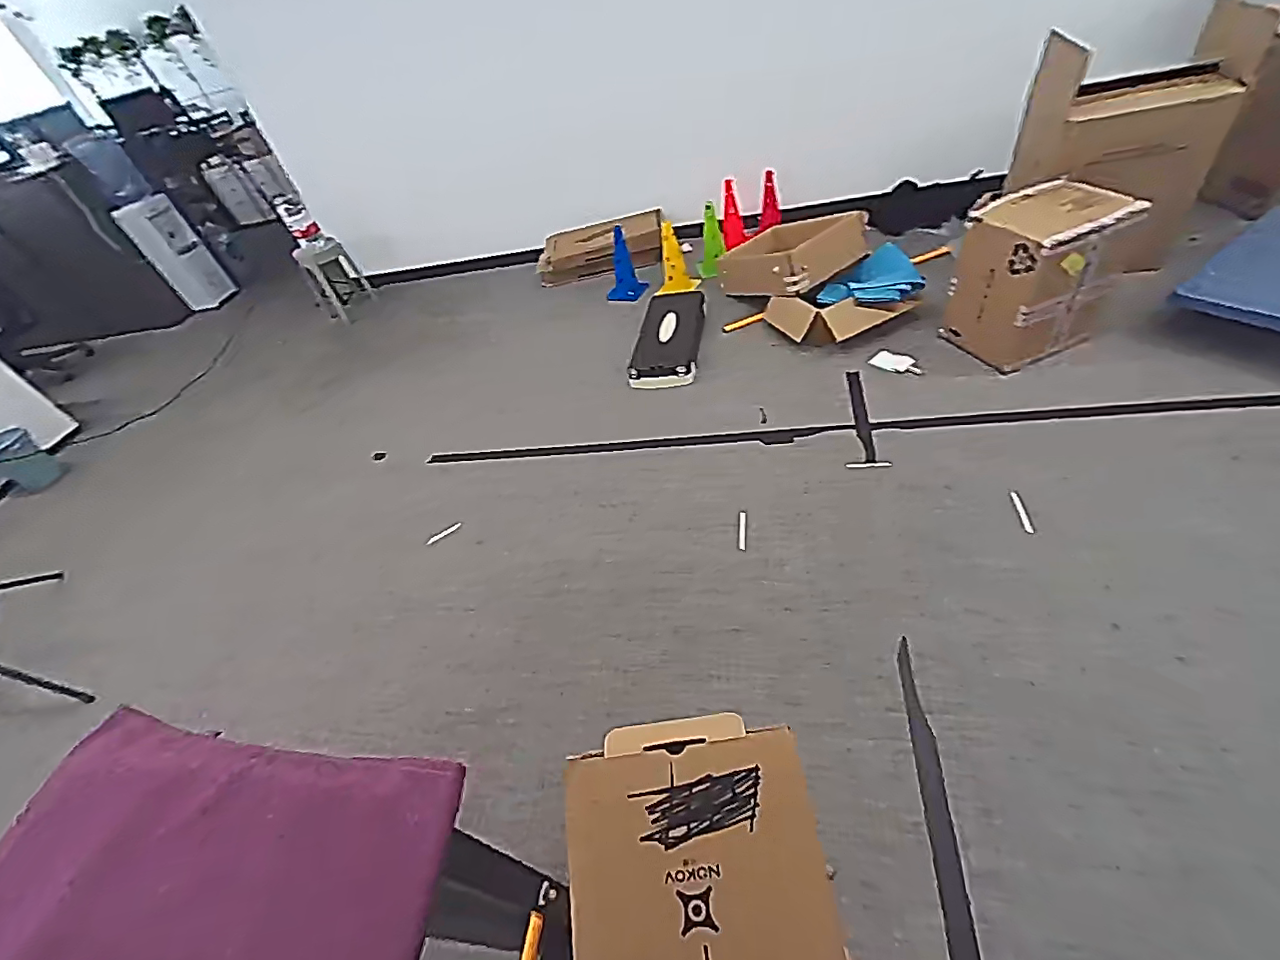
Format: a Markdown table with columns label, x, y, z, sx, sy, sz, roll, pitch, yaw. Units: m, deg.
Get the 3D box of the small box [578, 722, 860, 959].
| label | x | y | z | sx | sy | sz | roll | pitch | yaw |
| --- | --- | --- | --- | --- | --- | --- | --- | --- | --- |
| small box | 0.054 | 0.295 | 0.409 | 0.168 | 0.176 | 0.179 | -10 | 61 | 4 |
